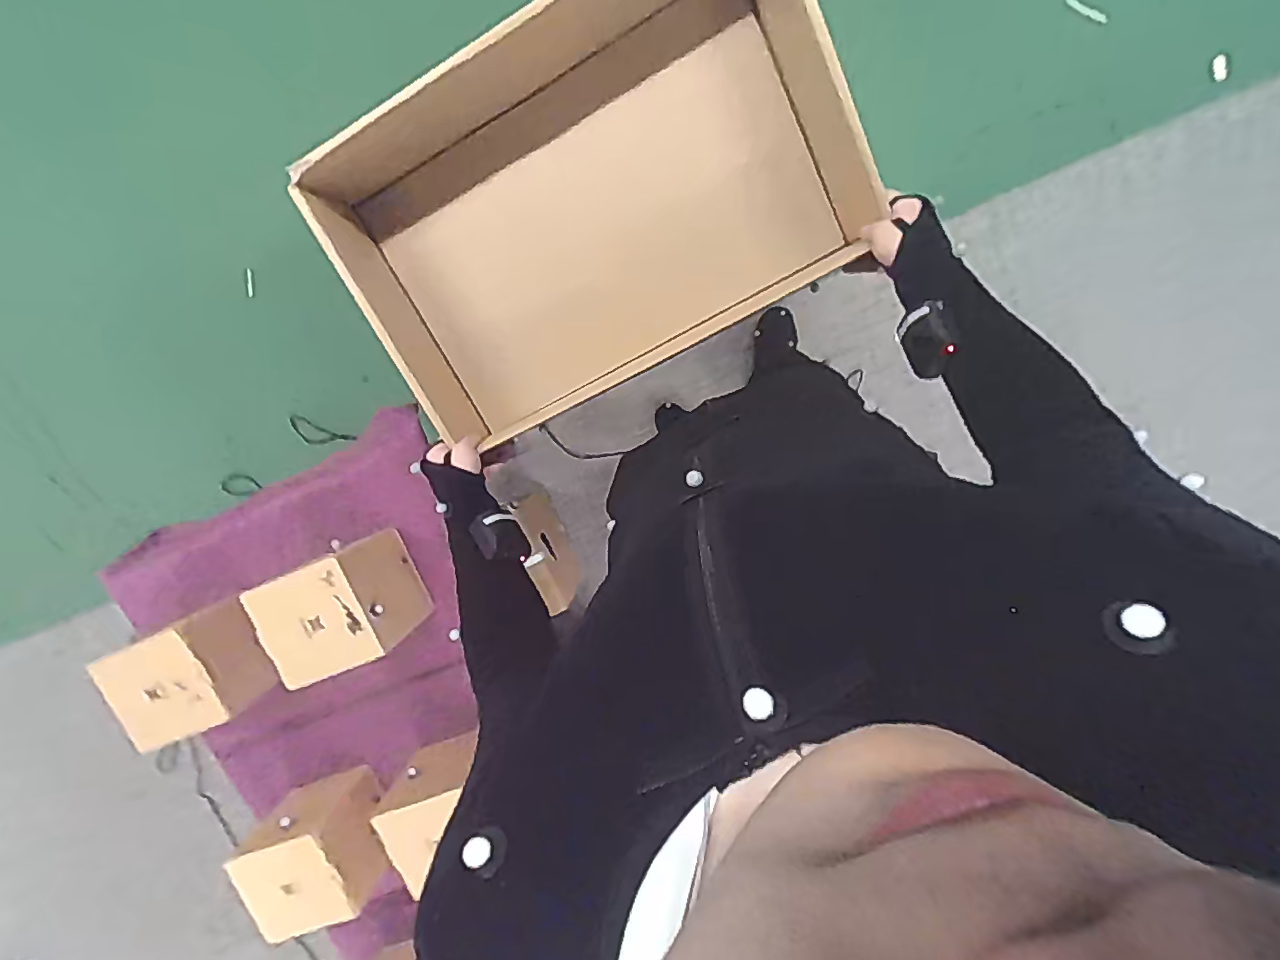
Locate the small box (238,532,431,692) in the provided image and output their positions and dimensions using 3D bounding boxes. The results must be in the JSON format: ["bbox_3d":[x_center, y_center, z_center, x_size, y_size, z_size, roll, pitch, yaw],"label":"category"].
[{"bbox_3d":[-0.478,0.204,0.872,0.179,0.176,0.168,-22,98,9],"label":"small box"}]

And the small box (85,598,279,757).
[{"bbox_3d":[-0.738,0.318,0.908,0.179,0.176,0.168,-23,99,6],"label":"small box"}]

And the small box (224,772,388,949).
[{"bbox_3d":[-0.564,0.659,0.955,0.179,0.176,0.168,-22,96,6],"label":"small box"}]

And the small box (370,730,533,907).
[{"bbox_3d":[-0.308,0.564,0.920,0.179,0.176,0.168,-22,98,8],"label":"small box"}]
